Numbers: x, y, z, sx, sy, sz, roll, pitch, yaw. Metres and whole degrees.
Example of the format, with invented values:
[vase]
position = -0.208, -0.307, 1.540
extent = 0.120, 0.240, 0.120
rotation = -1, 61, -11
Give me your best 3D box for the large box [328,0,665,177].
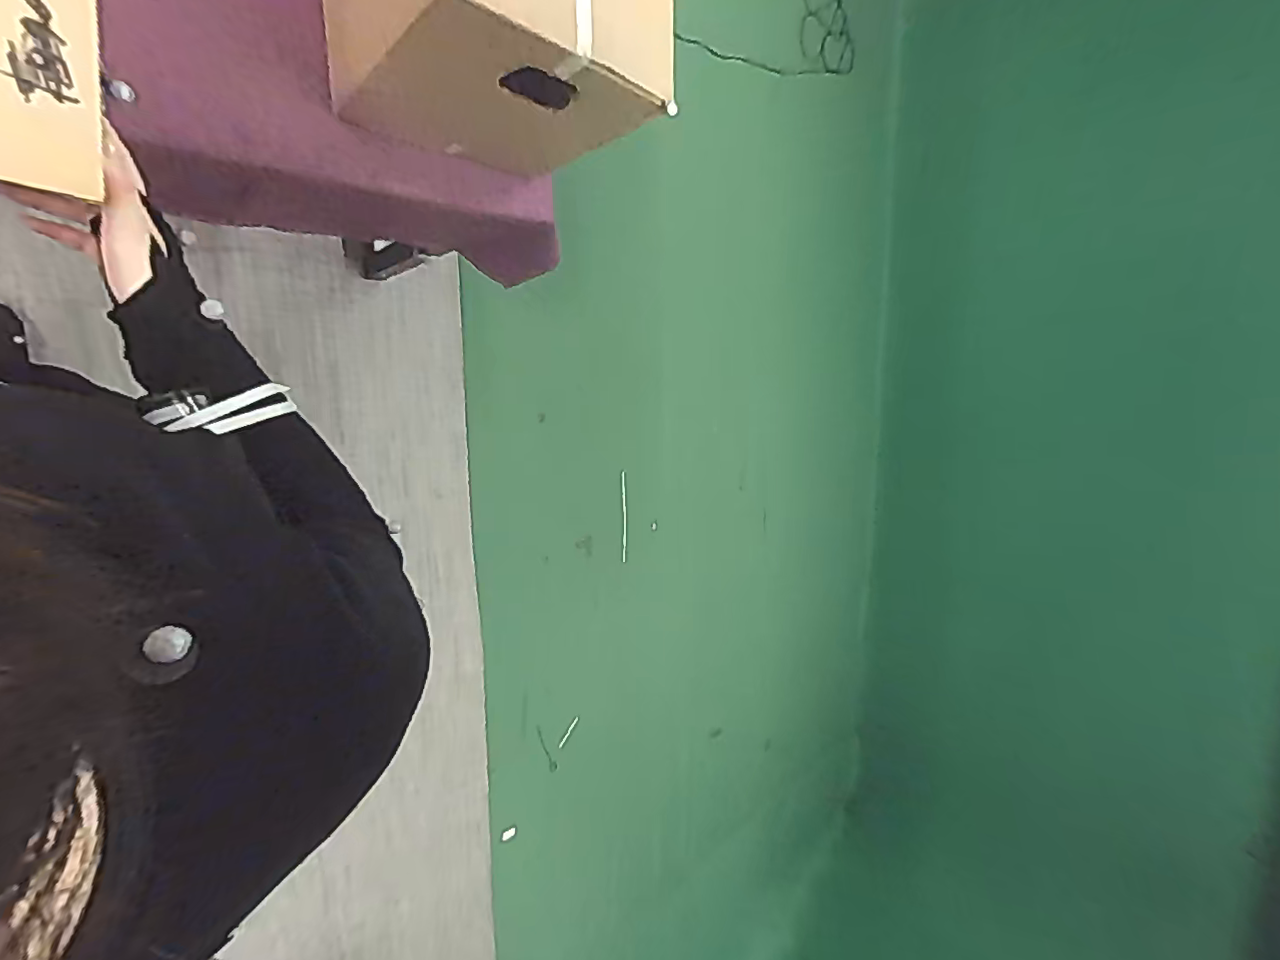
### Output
[large box]
position = -0.183, -0.669, 0.672
extent = 0.320, 0.320, 0.408
rotation = -10, 103, -45
